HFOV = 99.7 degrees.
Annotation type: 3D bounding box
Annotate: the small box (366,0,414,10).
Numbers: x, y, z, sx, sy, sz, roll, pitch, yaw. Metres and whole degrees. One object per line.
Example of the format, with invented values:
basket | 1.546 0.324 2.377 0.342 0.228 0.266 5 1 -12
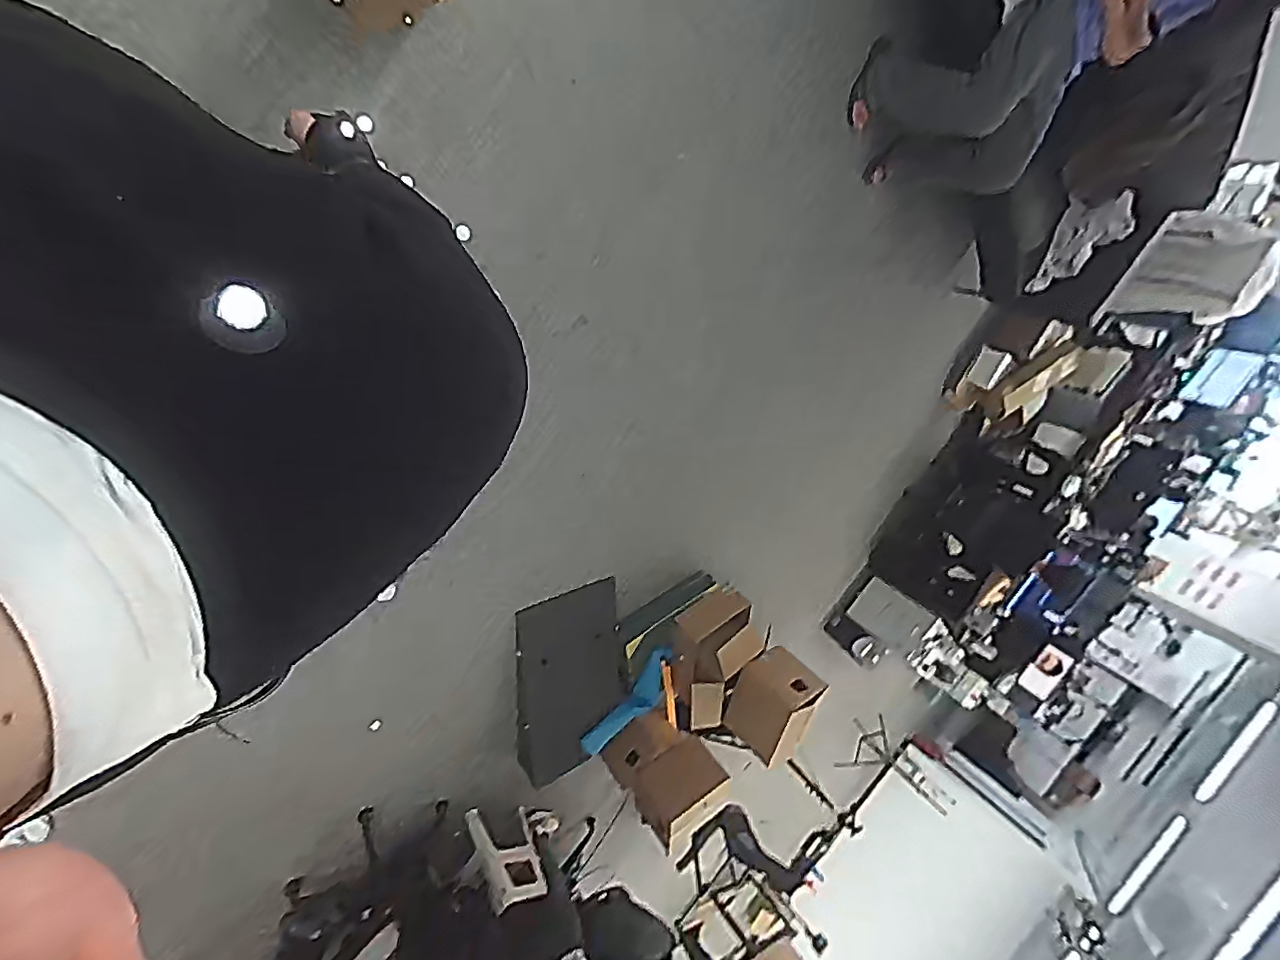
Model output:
small box | -0.451 -0.955 0.927 0.168 0.176 0.179 -54 138 1
